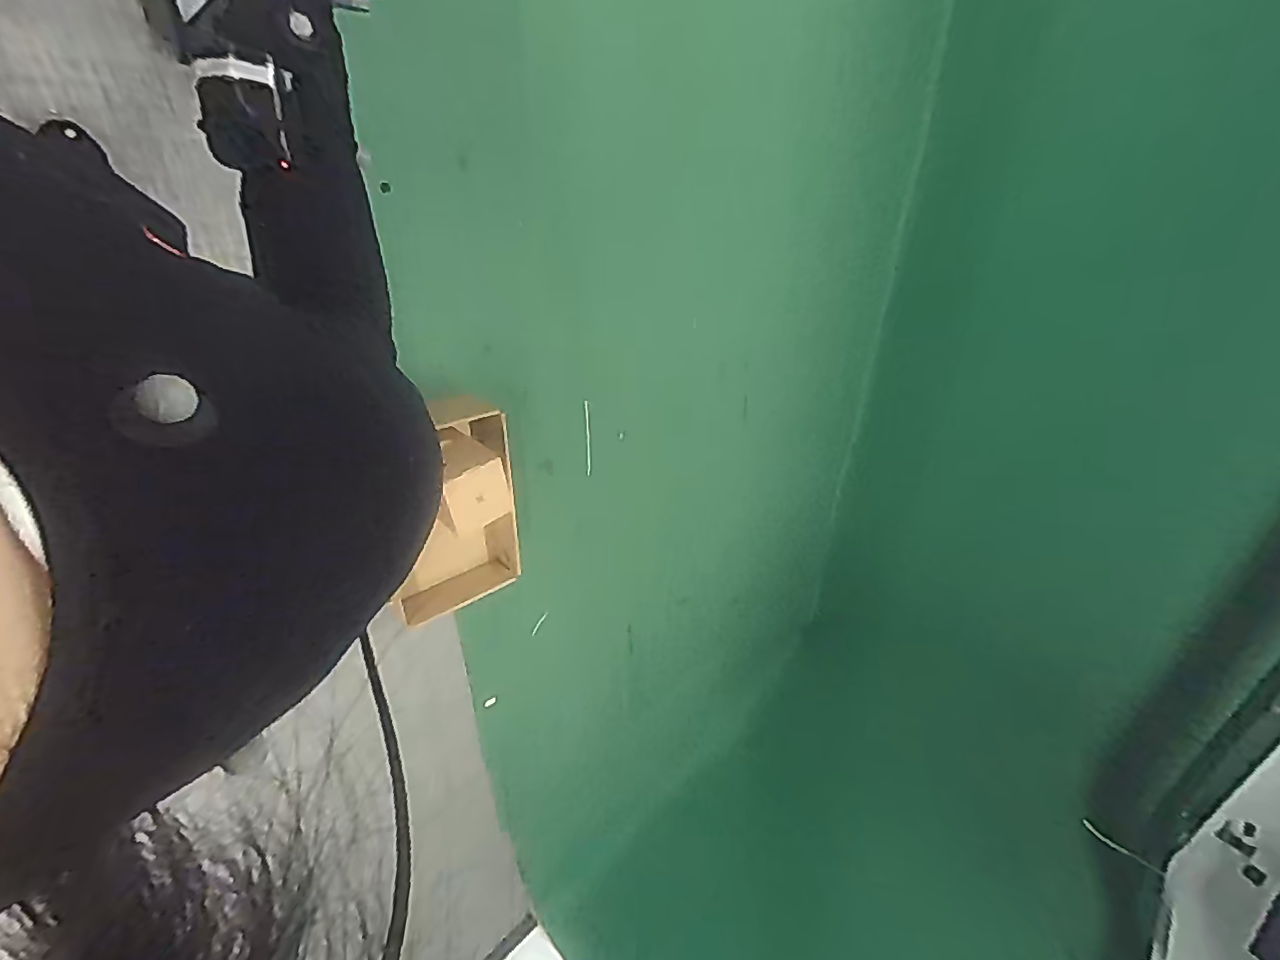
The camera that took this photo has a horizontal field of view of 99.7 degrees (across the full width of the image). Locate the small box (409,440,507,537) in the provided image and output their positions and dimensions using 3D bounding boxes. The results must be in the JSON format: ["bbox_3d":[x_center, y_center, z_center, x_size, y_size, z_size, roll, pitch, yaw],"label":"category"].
[{"bbox_3d":[-0.478,0.011,1.418,0.168,0.176,0.179,-31,134,-32],"label":"small box"}]
